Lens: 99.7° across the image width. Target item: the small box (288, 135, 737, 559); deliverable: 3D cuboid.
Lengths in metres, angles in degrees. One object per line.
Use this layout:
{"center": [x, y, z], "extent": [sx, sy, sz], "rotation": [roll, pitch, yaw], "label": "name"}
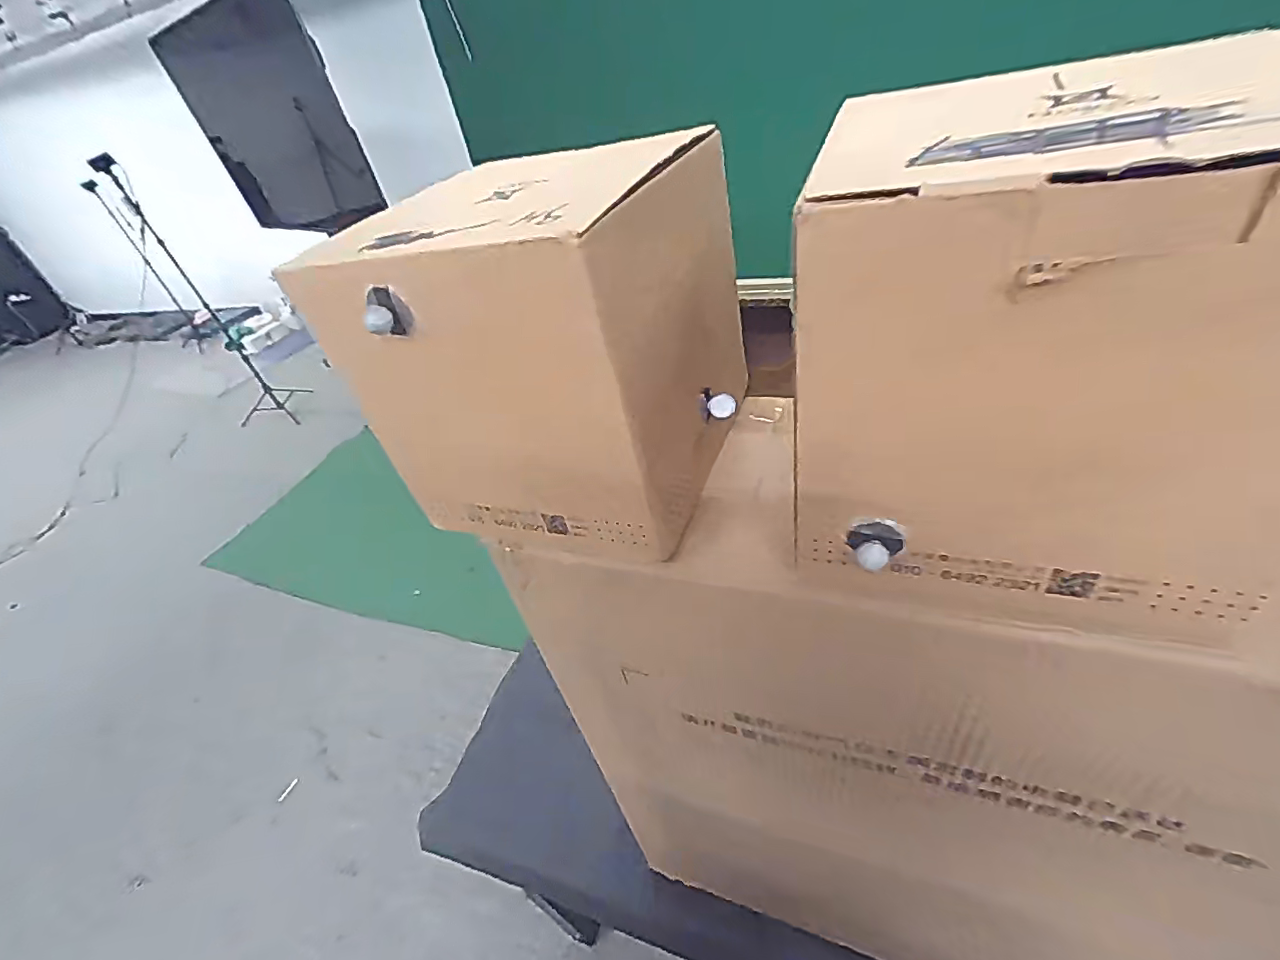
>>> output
{"center": [-0.044, -0.081, 0.322], "extent": [0.168, 0.176, 0.179], "rotation": [5, 41, 26], "label": "small box"}
